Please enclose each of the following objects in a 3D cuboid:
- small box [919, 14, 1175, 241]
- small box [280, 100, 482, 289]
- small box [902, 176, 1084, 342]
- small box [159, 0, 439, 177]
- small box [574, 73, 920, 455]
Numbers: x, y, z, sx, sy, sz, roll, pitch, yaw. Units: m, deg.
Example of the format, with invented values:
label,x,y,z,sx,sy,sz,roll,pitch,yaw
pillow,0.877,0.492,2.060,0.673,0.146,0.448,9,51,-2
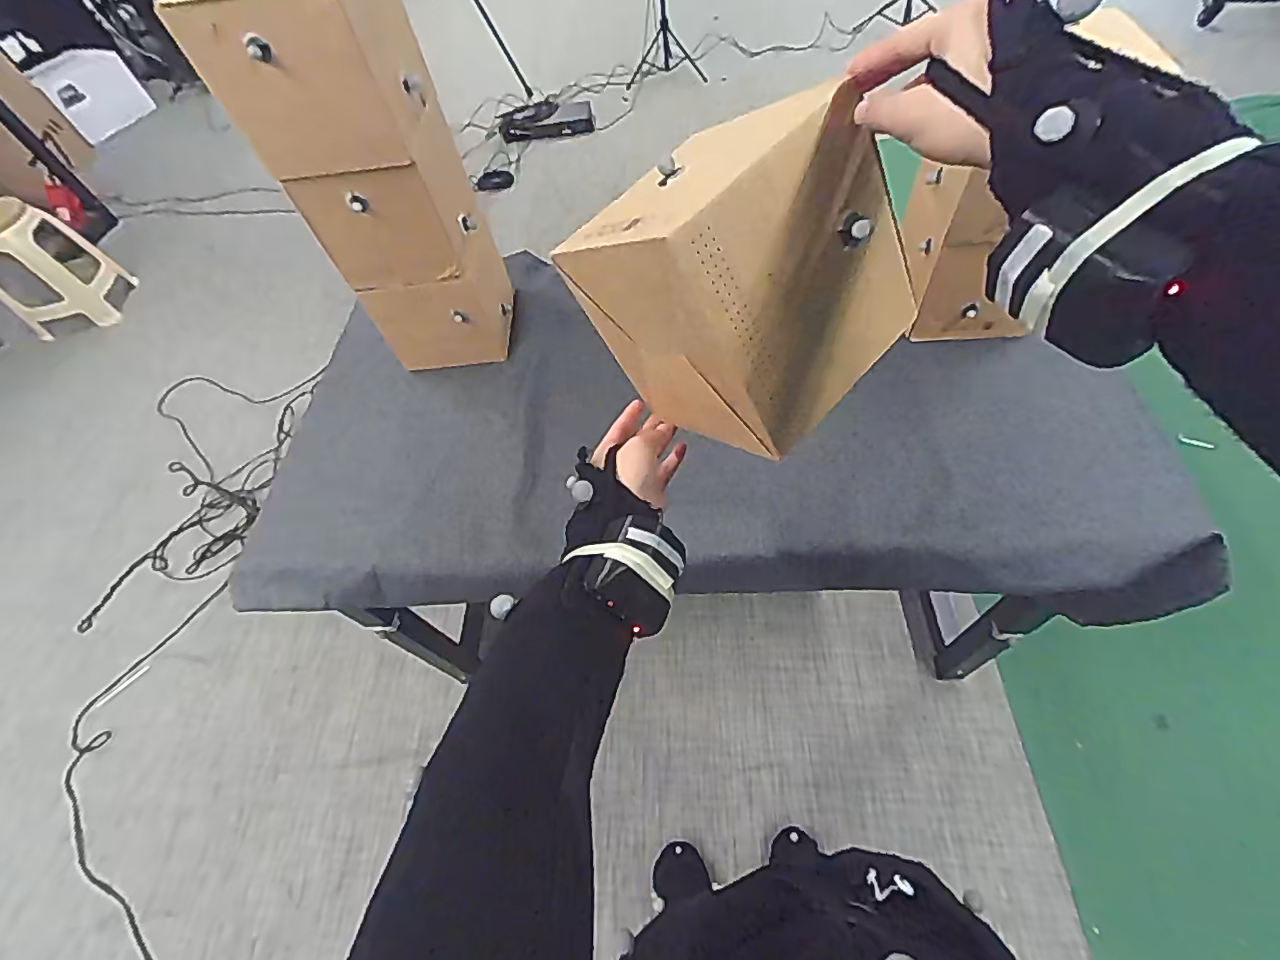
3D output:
label,x,y,z,sx,sy,sz,roll,pitch,yaw
small box,0.454,-0.405,0.642,0.168,0.176,0.179,0,59,8
small box,-0.340,-0.386,0.748,0.179,0.176,0.168,-5,59,3
small box,0.479,-0.322,0.782,0.168,0.176,0.179,-1,58,8
small box,-0.355,-0.466,0.605,0.179,0.176,0.168,-3,59,5
small box,0.071,-0.148,0.412,0.176,0.179,0.168,-44,33,-11
